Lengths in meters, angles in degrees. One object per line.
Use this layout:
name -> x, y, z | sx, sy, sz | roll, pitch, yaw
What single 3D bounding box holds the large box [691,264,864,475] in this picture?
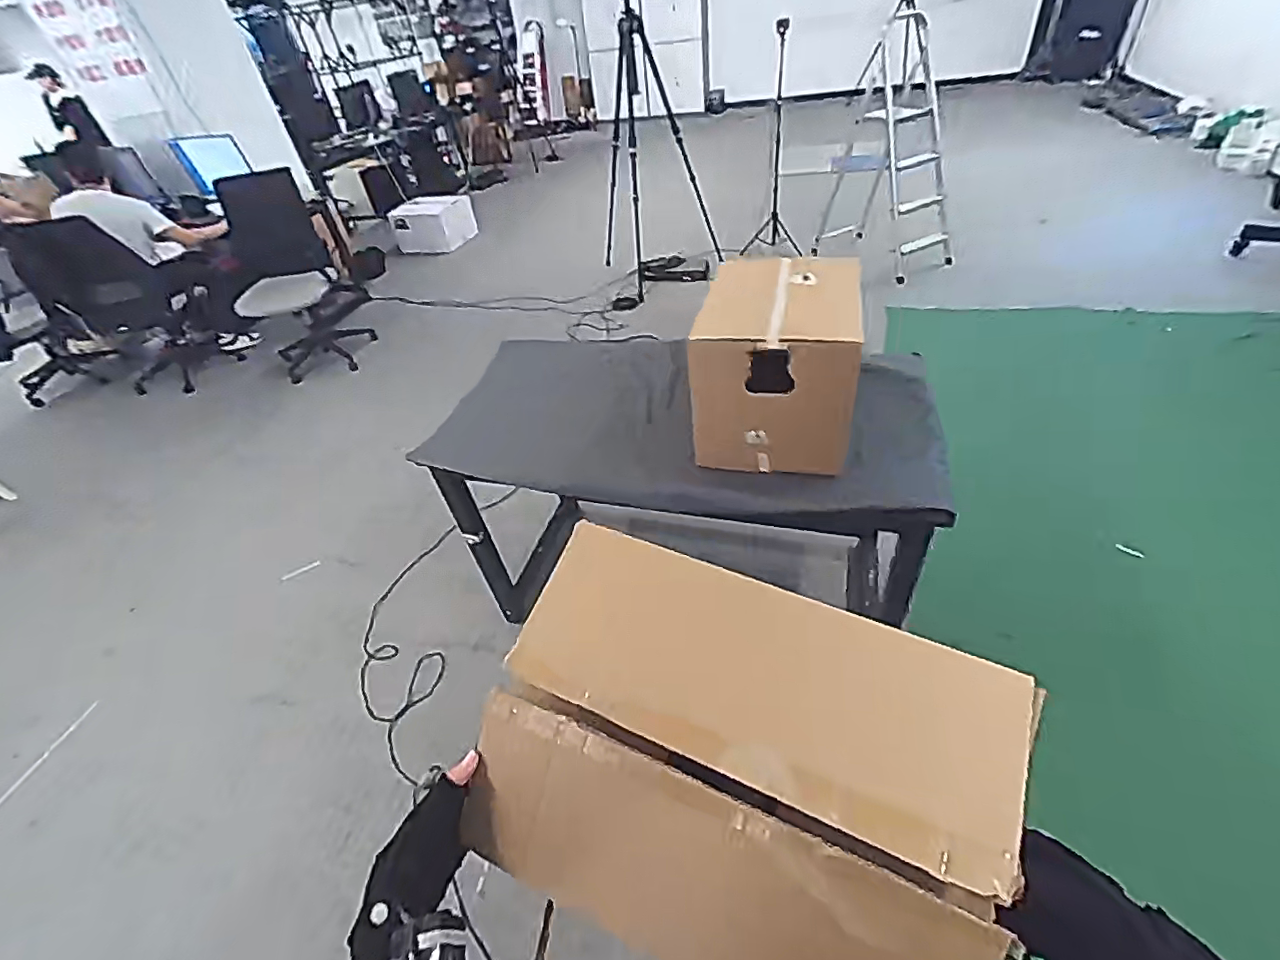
large box -> 0.310, -0.254, 1.213 | 0.320, 0.320, 0.408 | 5, 41, 16
